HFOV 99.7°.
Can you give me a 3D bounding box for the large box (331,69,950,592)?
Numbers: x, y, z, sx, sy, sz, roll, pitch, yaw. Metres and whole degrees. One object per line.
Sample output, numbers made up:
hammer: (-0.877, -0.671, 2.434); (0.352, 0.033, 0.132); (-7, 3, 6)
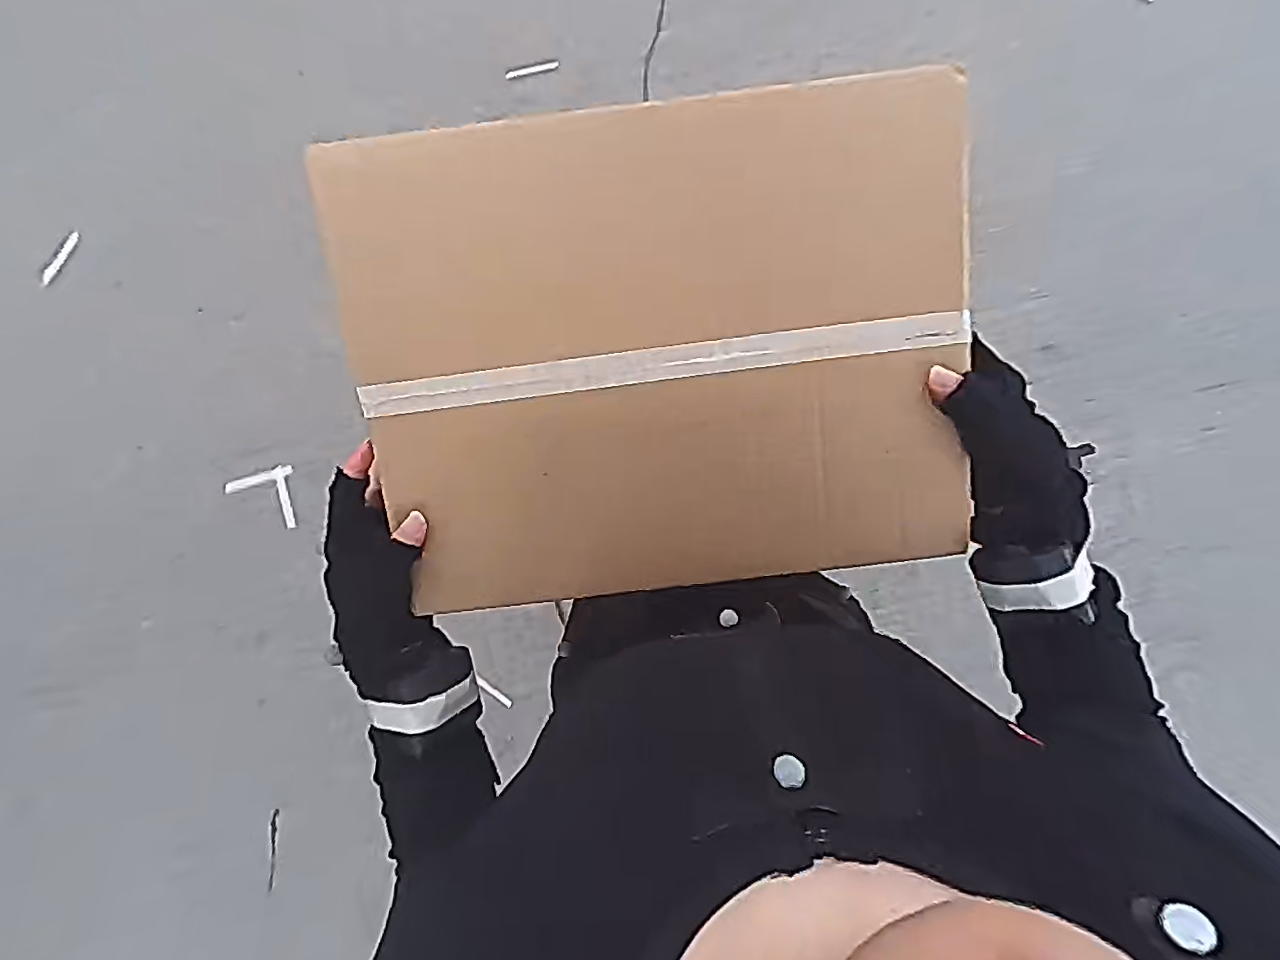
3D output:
large box: (0.011, -0.116, 0.519); (0.408, 0.320, 0.320); (-6, 103, 1)
